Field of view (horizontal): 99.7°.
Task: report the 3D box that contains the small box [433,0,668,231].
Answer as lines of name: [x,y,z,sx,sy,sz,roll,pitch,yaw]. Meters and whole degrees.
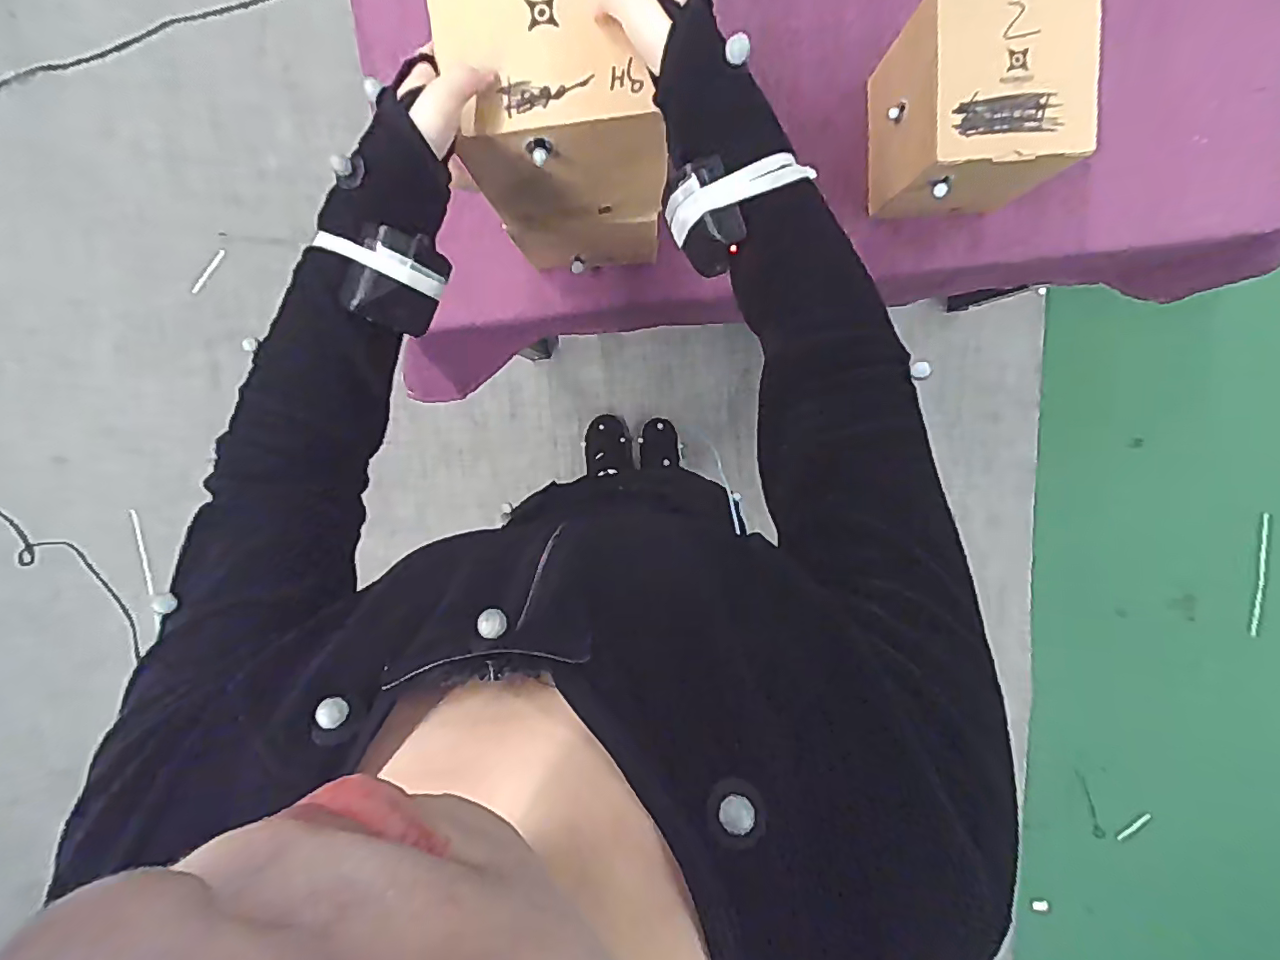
small box: [-0.066,-0.346,0.471,0.168,0.176,0.179,-6,93,3]

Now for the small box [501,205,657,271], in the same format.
small box: [-0.066,-0.361,0.639,0.168,0.176,0.179,-2,97,1]
